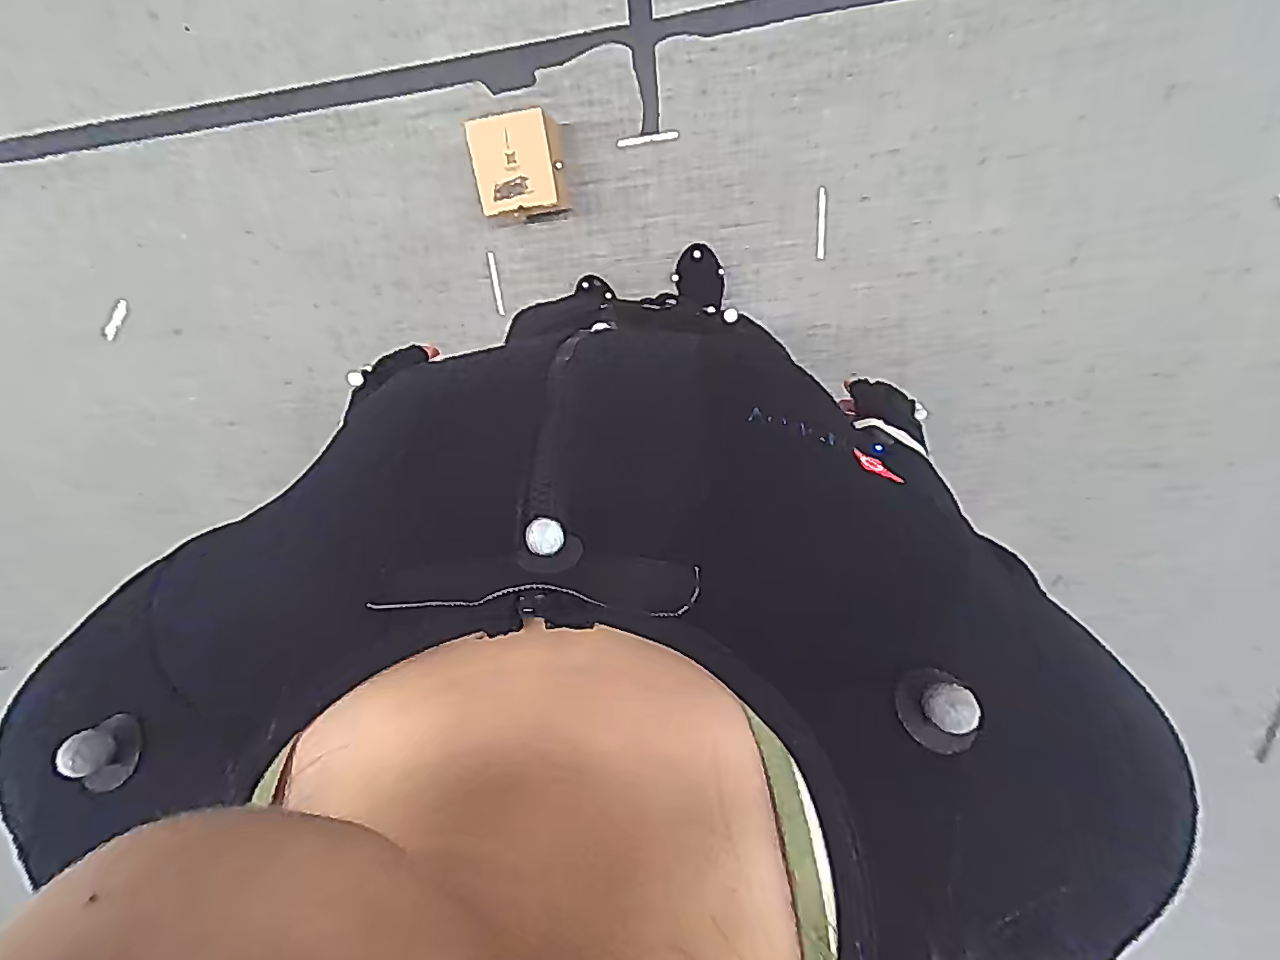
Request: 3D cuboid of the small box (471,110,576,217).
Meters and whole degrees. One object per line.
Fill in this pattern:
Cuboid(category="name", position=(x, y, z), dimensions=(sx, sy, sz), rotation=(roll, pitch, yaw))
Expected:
Cuboid(category="small box", position=(-0.247, -0.687, 1.196), dimensions=(0.168, 0.176, 0.179), rotation=(-5, 112, 8))
